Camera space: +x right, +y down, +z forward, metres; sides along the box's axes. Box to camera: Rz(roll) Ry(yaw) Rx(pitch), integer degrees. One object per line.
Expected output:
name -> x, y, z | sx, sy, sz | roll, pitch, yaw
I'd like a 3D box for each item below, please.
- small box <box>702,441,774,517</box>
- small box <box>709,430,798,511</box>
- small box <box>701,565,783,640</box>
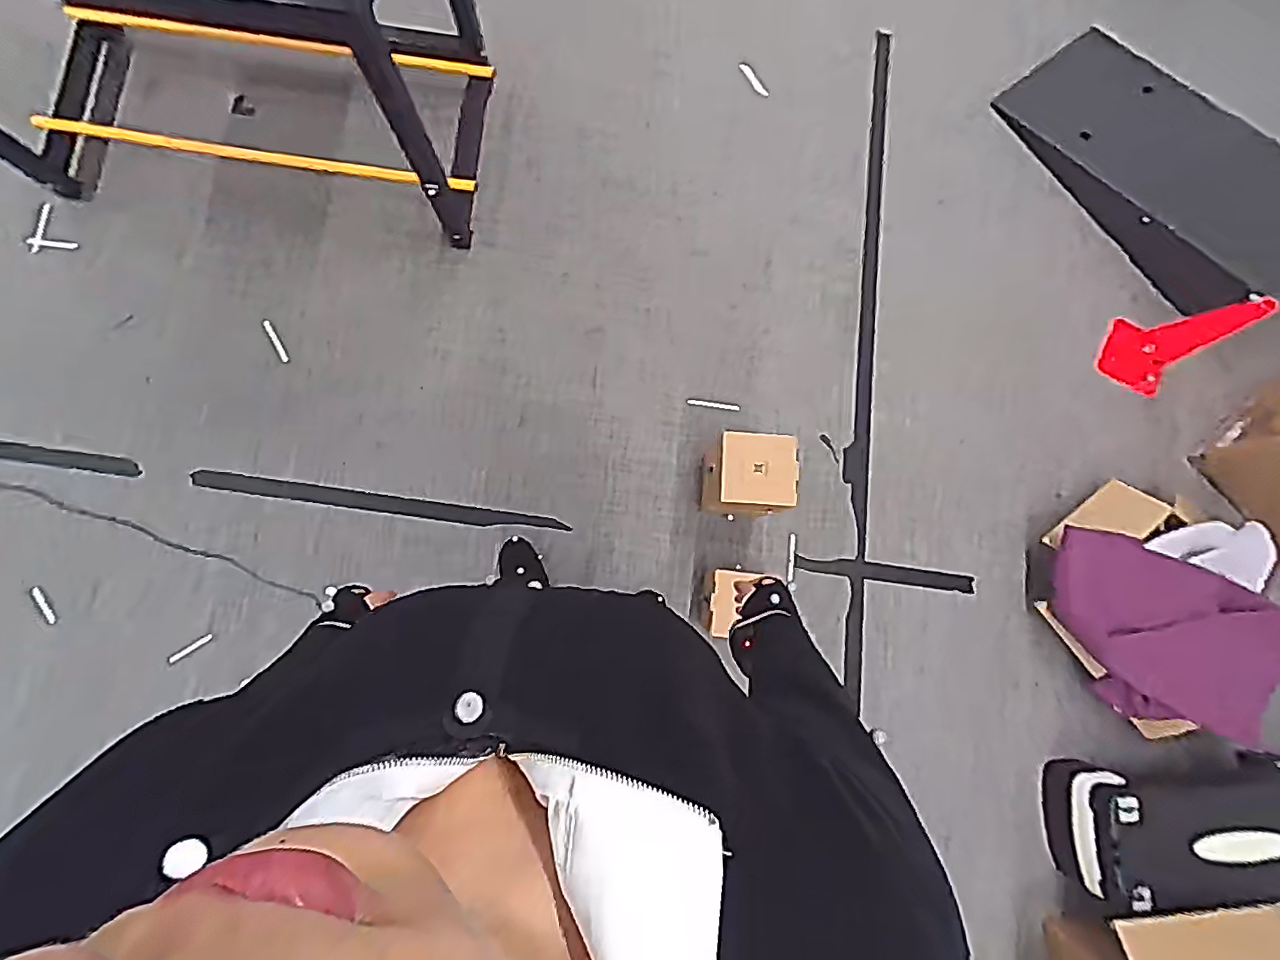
small box -> 0.267, 0.001, 1.471 | 0.168, 0.176, 0.179 | 5, 83, -2
small box -> 0.271, -0.017, 1.310 | 0.179, 0.176, 0.168 | 3, 81, -1
small box -> 0.264, 0.319, 1.431 | 0.179, 0.176, 0.168 | 7, 82, -1
